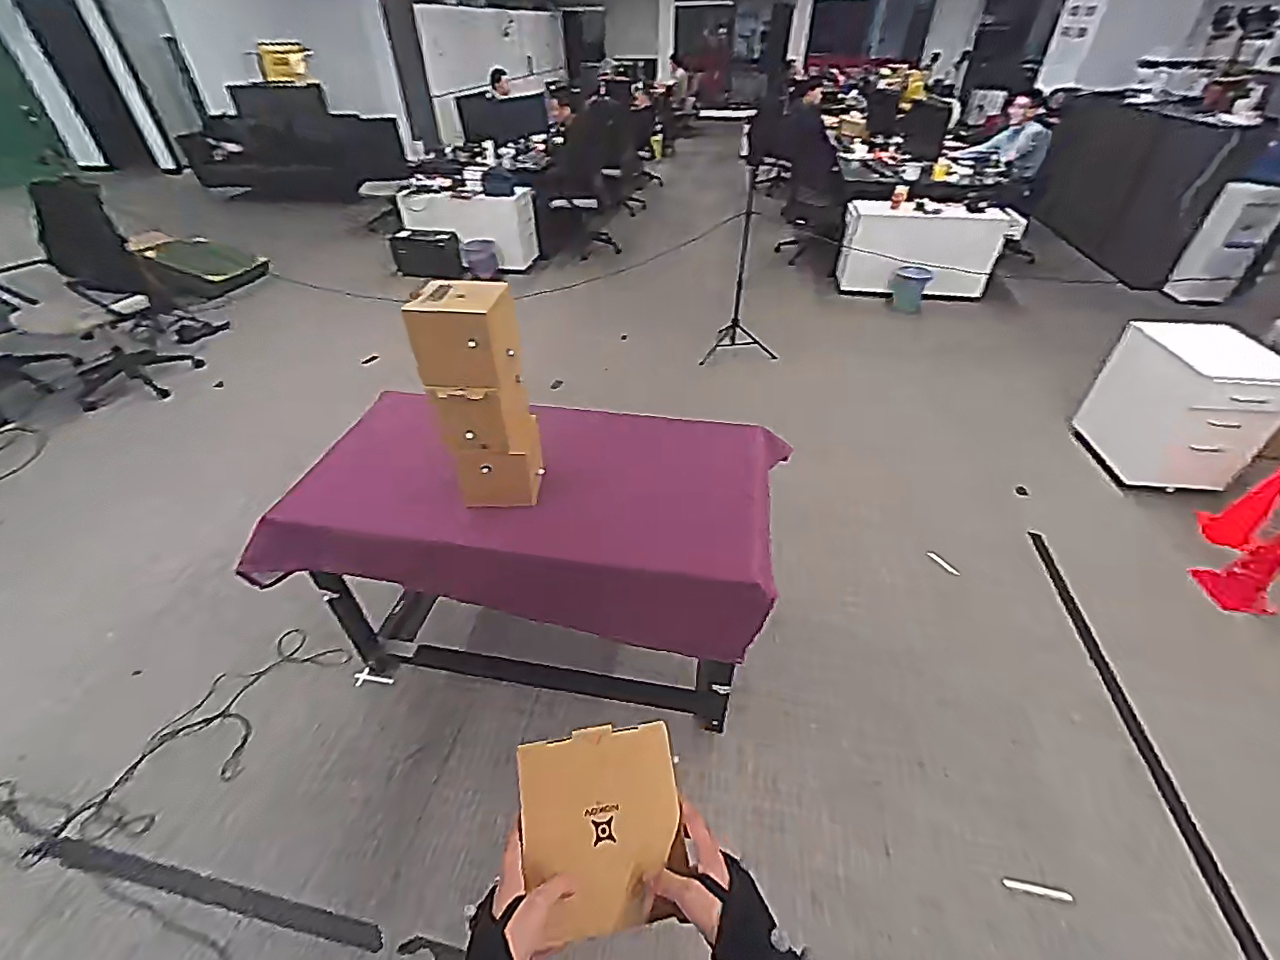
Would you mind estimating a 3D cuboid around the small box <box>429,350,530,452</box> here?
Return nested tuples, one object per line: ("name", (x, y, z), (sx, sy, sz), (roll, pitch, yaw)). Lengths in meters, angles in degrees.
("small box", (-0.362, -0.185, 1.257), (0.168, 0.176, 0.179), (3, 40, 5))

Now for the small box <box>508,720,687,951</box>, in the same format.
("small box", (-0.056, 0.389, 0.618), (0.168, 0.176, 0.179), (-6, 60, -12))

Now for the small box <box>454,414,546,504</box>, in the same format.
("small box", (-0.341, -0.052, 1.354), (0.179, 0.176, 0.168), (1, 40, 0))
